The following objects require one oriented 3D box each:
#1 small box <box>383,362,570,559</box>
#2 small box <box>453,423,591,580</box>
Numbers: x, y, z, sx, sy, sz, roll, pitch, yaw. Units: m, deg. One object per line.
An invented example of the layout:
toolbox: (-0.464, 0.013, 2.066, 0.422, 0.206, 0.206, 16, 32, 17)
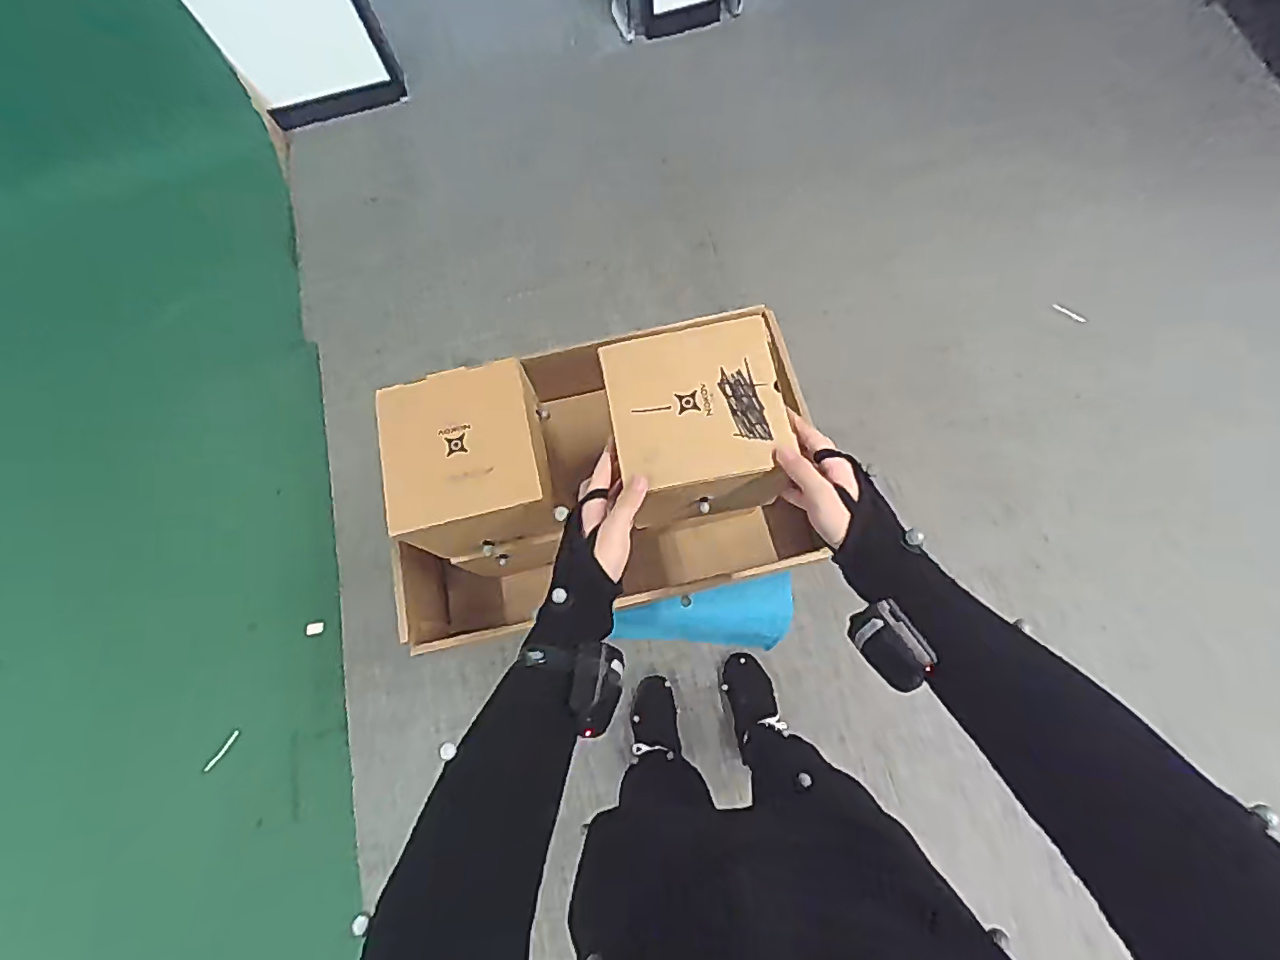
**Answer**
small box: (-0.192, -0.014, 0.665, 0.168, 0.176, 0.179, -13, 72, 0)
small box: (-0.178, 0.040, 0.818, 0.168, 0.176, 0.179, -13, 71, 0)
